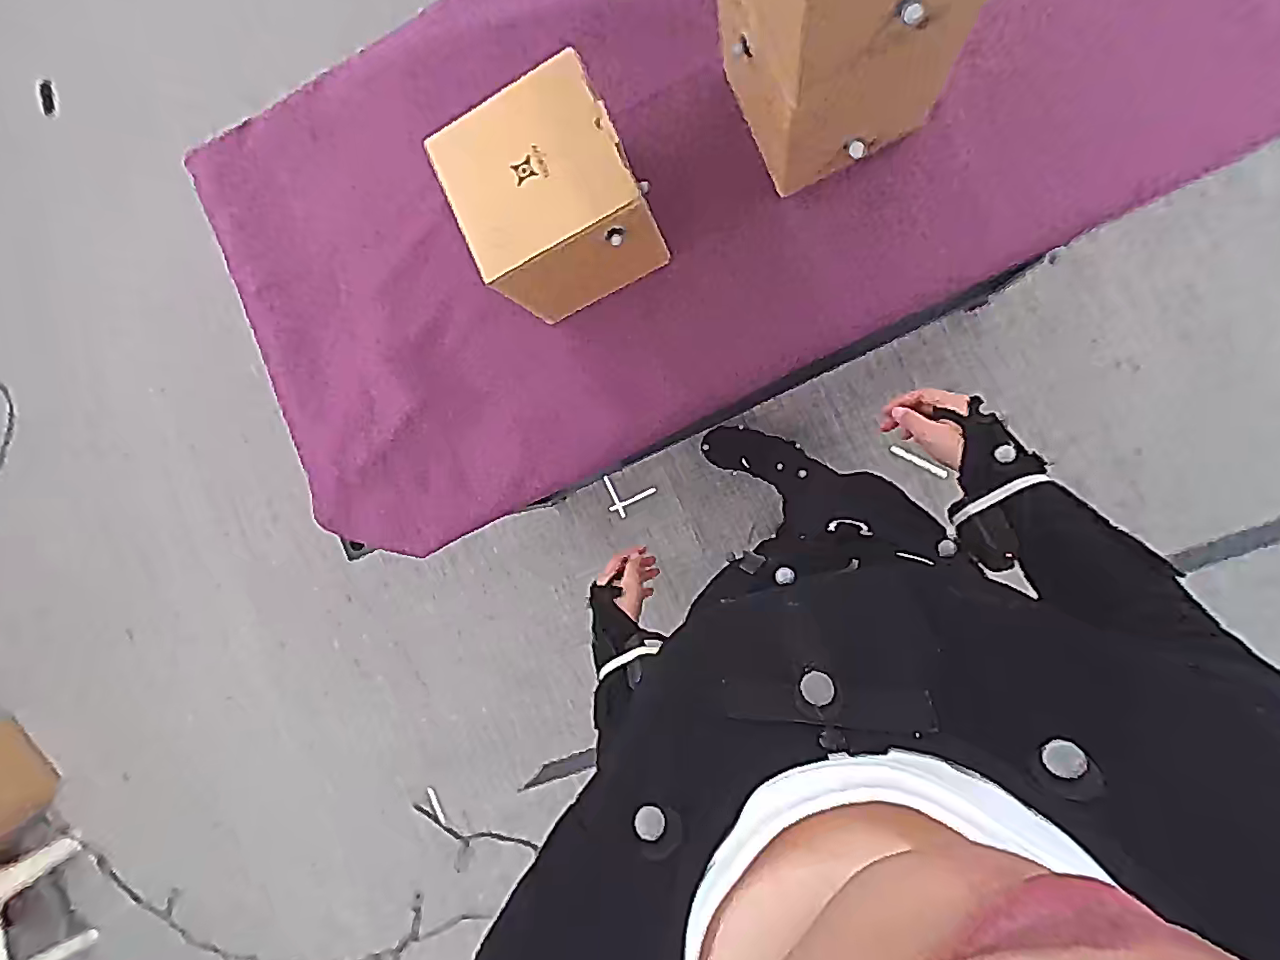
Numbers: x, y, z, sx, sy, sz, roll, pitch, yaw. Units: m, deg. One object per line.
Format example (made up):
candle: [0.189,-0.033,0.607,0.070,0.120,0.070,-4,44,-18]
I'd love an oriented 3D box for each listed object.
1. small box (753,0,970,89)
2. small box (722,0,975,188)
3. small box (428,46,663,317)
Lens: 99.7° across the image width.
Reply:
small box: [0.155,-0.437,0.376,0.168,0.176,0.179,-23,87,13]
small box: [0.185,-0.440,0.539,0.168,0.176,0.179,-23,87,12]
small box: [-0.092,-0.307,0.603,0.179,0.176,0.168,-25,86,11]
